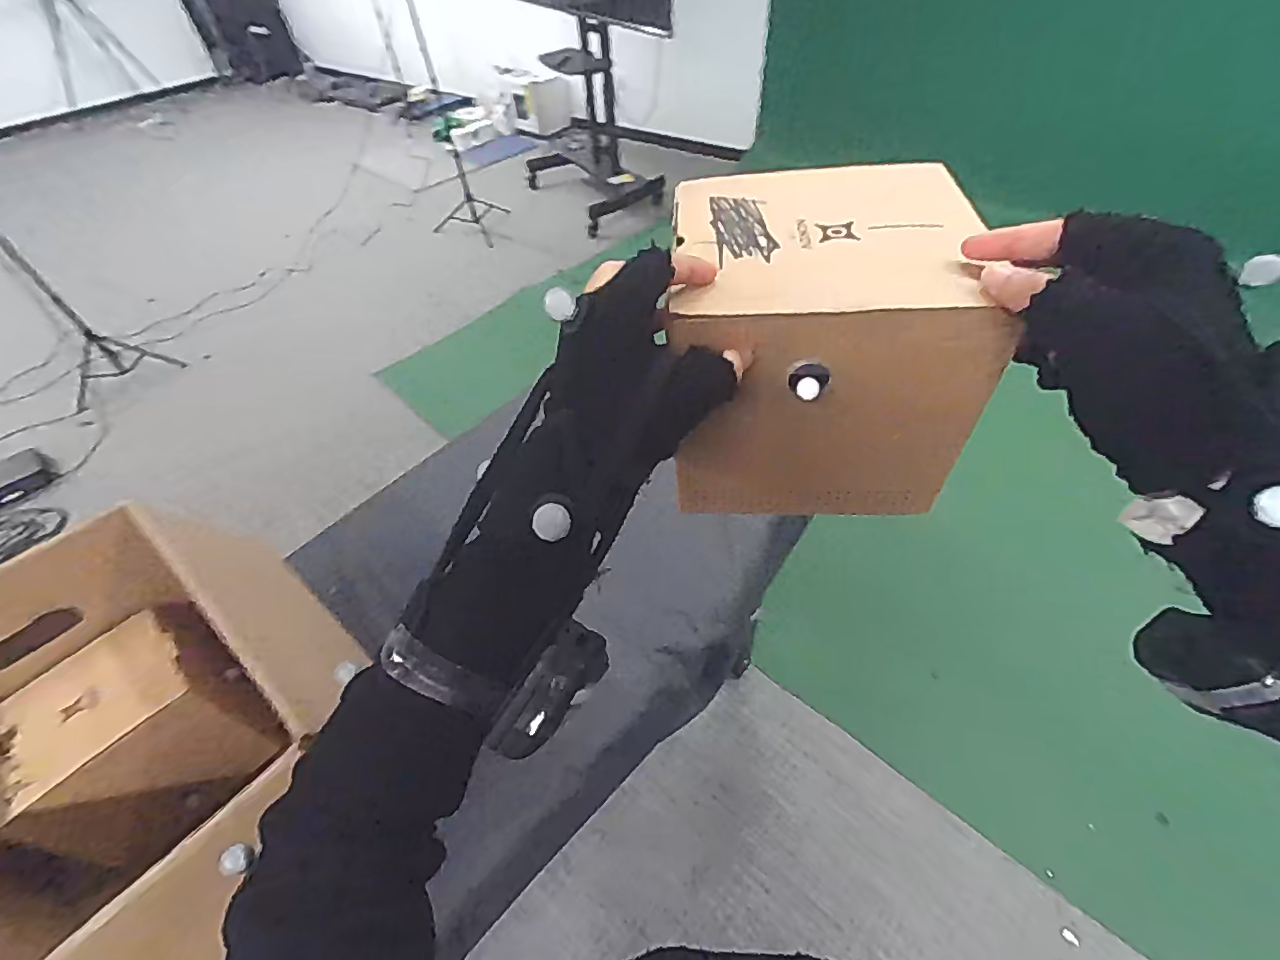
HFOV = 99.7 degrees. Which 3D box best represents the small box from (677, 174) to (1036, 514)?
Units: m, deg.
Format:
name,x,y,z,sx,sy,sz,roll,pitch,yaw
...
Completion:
name,x,y,z,sx,sy,sz,roll,pitch,yaw
small box,0.120,-0.089,0.380,0.179,0.176,0.168,1,51,7
